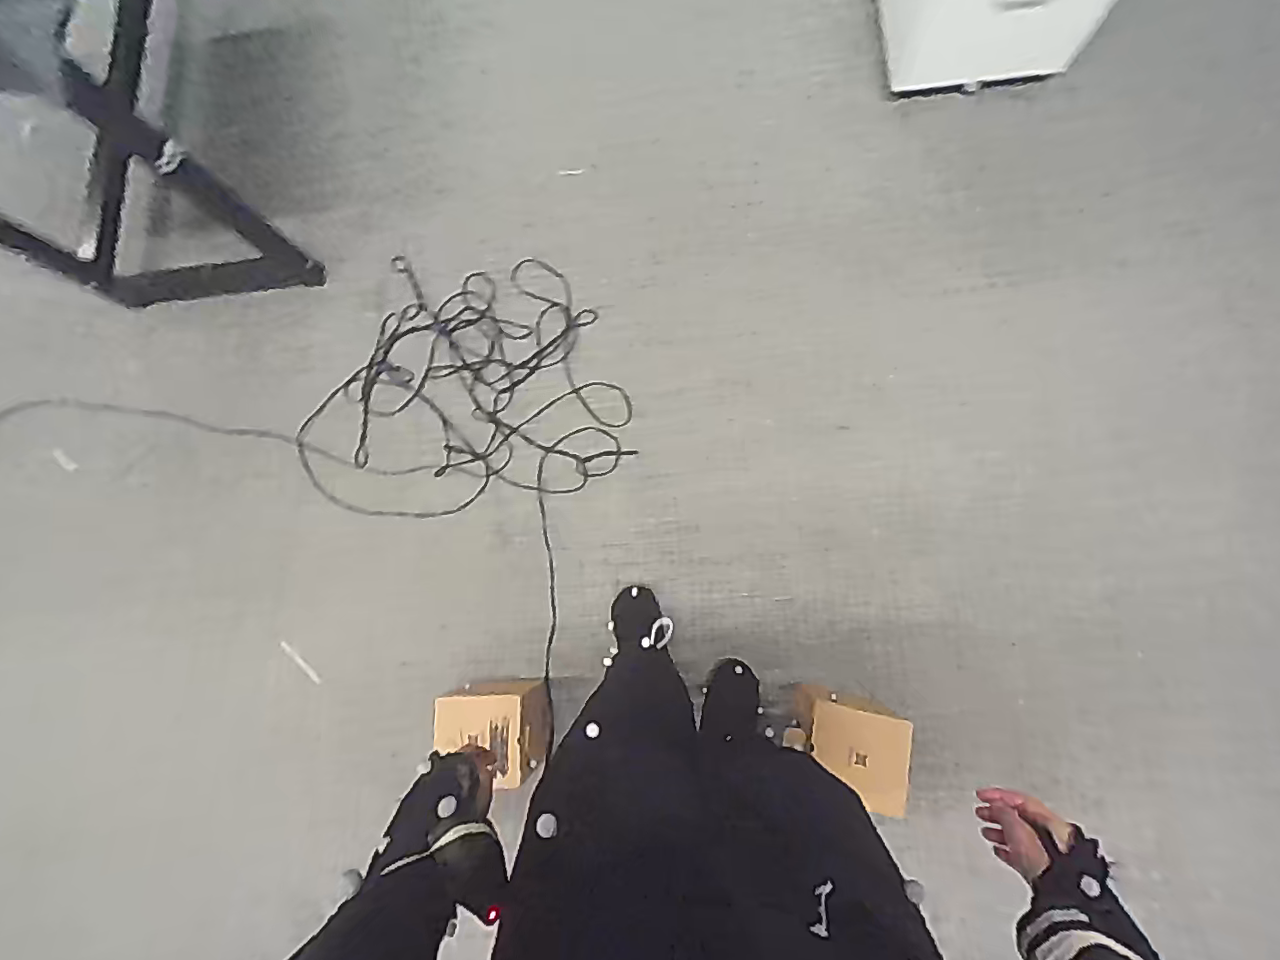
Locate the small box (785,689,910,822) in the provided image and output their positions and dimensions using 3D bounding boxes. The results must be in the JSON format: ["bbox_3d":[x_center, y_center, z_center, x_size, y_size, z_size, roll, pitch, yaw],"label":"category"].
[{"bbox_3d":[0.391,0.516,1.042,0.179,0.176,0.168,10,81,8],"label":"small box"}]
